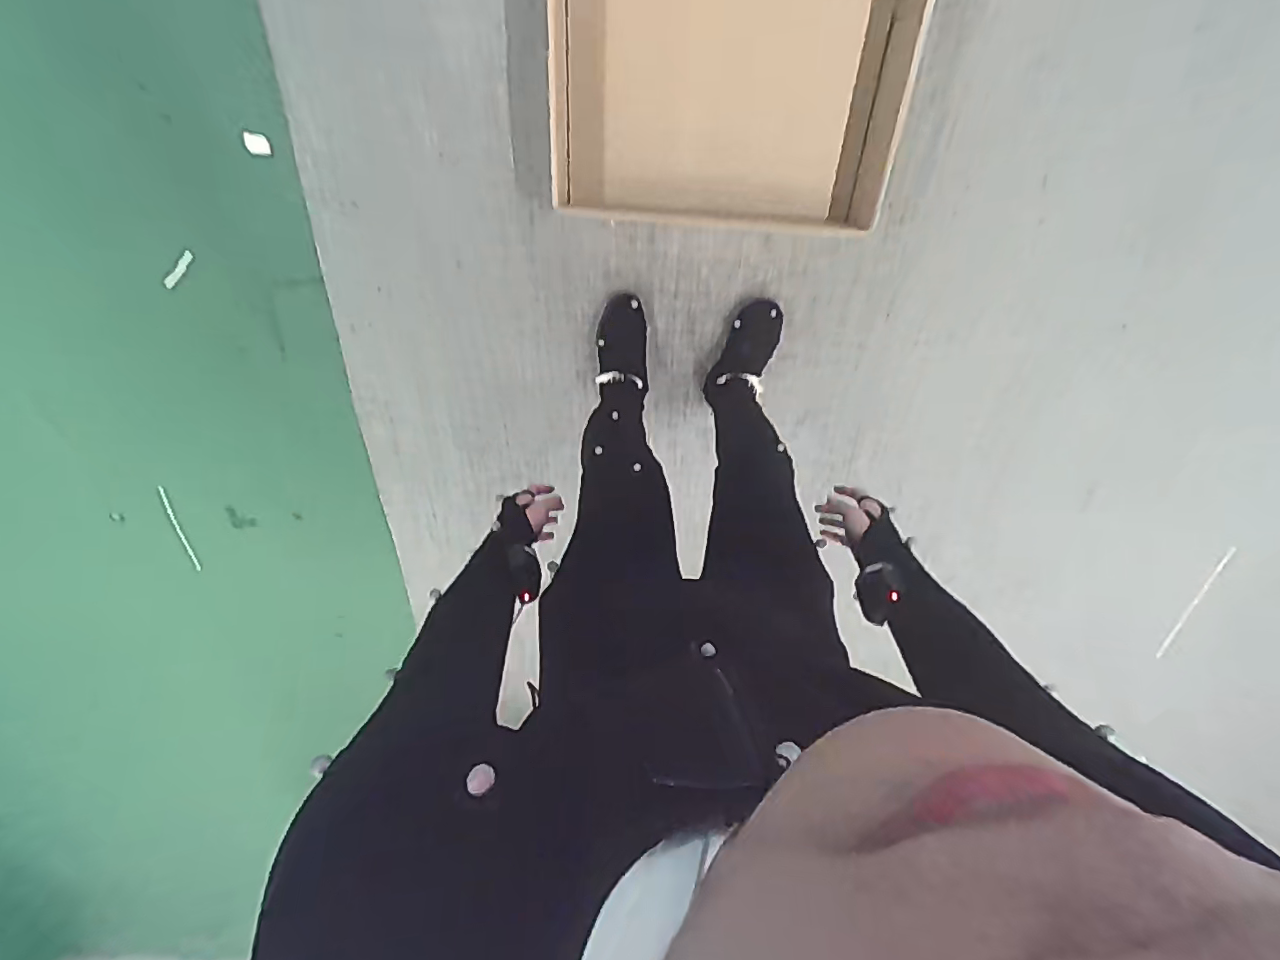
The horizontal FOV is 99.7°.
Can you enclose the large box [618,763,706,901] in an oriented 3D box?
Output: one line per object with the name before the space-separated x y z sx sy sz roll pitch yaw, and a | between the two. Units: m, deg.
large box | 0.088 1.367 2.112 0.320 0.320 0.408 0 120 3
